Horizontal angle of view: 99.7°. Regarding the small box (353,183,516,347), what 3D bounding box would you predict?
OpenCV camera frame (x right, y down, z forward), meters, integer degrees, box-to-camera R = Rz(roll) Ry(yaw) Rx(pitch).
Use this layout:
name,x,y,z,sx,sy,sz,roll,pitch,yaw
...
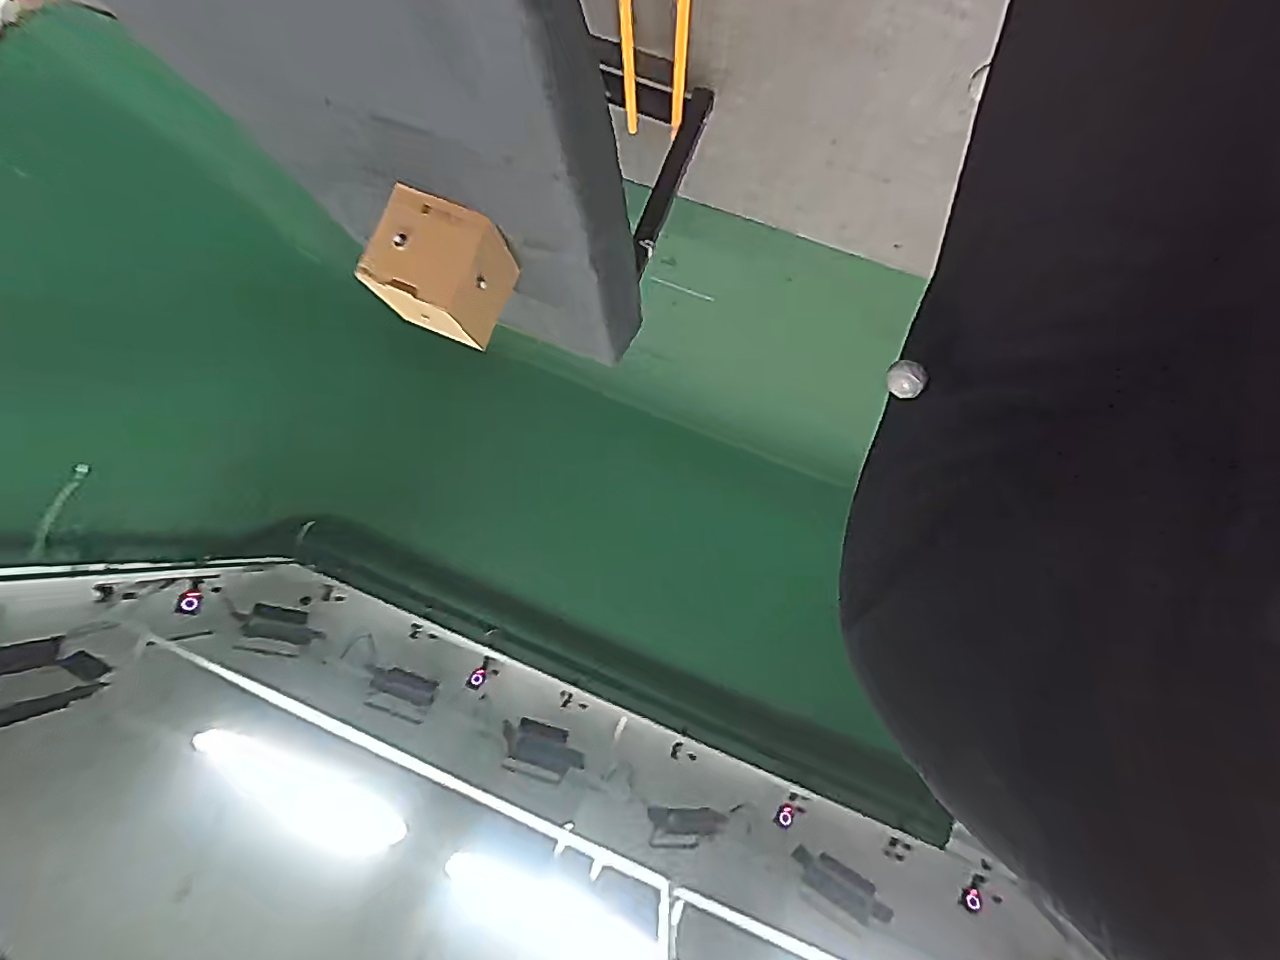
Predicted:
name,x,y,z,sx,sy,sz,roll,pitch,yaw
small box,-0.332,-0.354,0.906,0.168,0.176,0.179,23,175,4
